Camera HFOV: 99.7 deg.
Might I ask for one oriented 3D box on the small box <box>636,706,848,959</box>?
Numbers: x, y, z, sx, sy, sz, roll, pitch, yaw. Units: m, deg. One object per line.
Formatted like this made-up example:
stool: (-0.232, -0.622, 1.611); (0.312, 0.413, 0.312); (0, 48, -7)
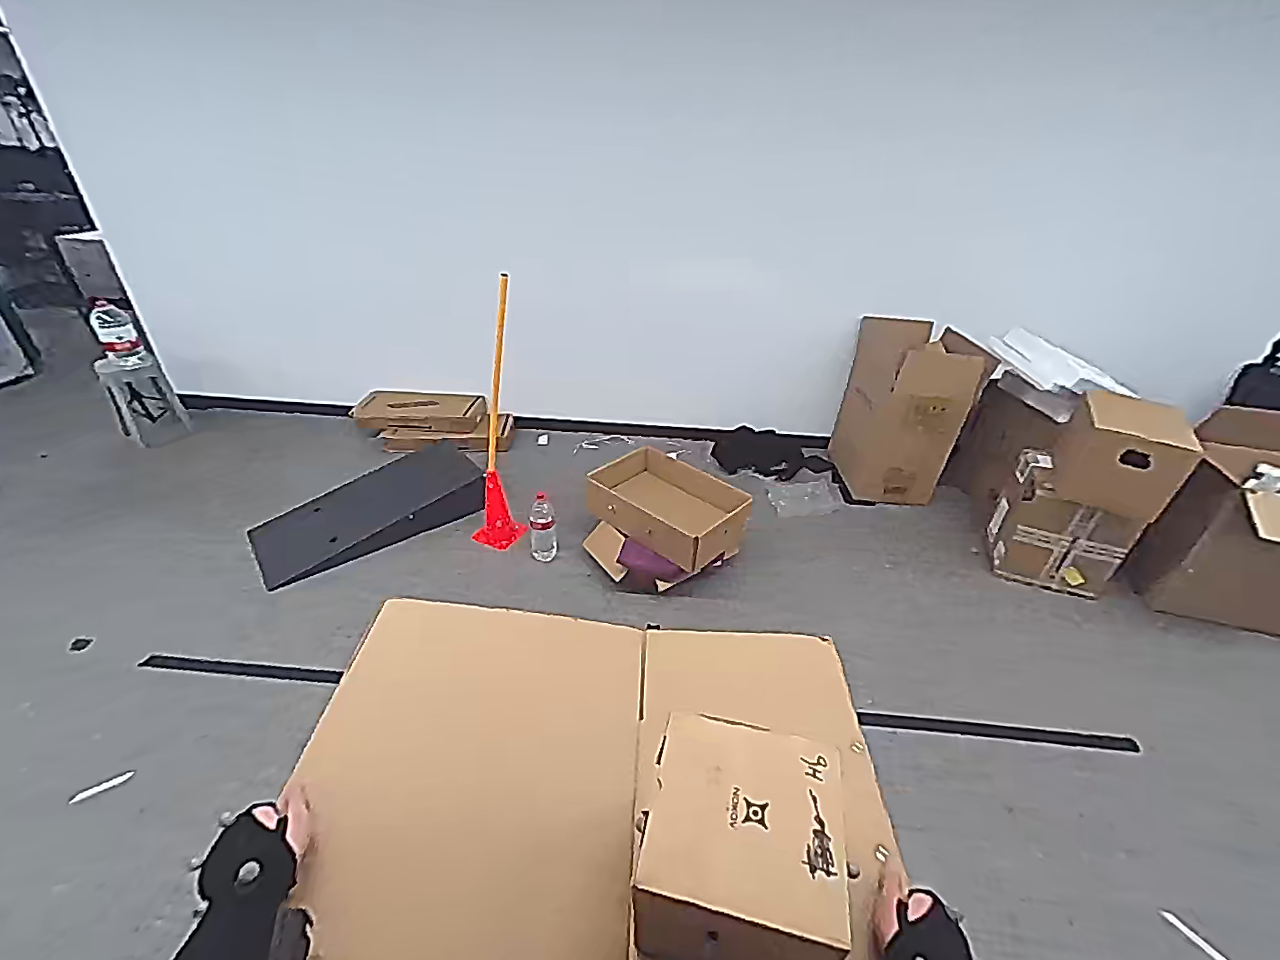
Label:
small box: (0.102, 0.364, 0.548); (0.179, 0.176, 0.168); (7, 37, 12)
